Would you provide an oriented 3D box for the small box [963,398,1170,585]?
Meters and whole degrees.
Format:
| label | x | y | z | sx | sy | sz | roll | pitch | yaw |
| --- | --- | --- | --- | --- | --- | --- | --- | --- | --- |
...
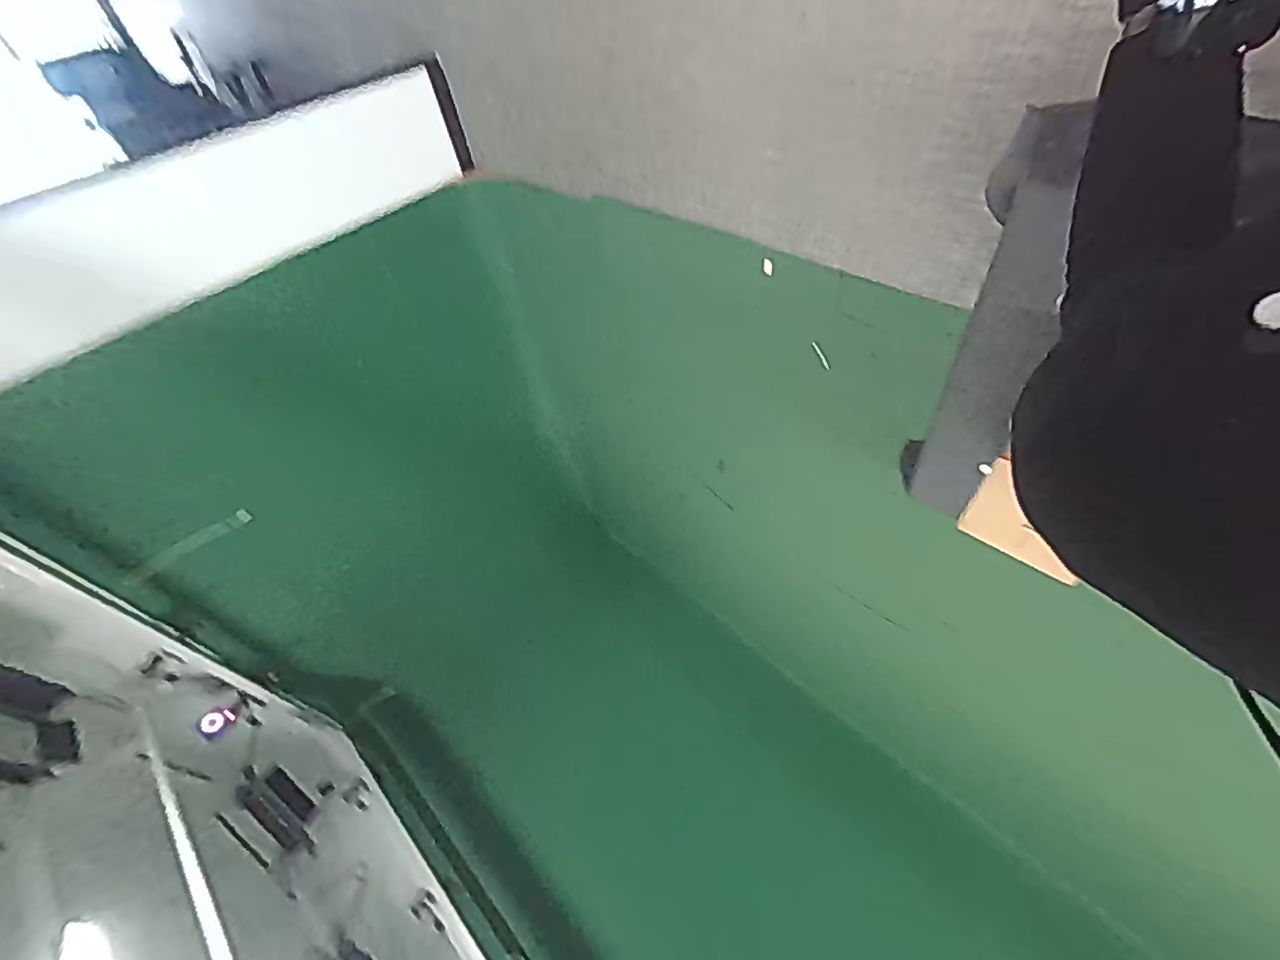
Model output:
| label | x | y | z | sx | sy | sz | roll | pitch | yaw |
| --- | --- | --- | --- | --- | --- | --- | --- | --- | --- |
| small box | 0.614 | 0.010 | 0.786 | 0.168 | 0.176 | 0.179 | 33 | 152 | 30 |
